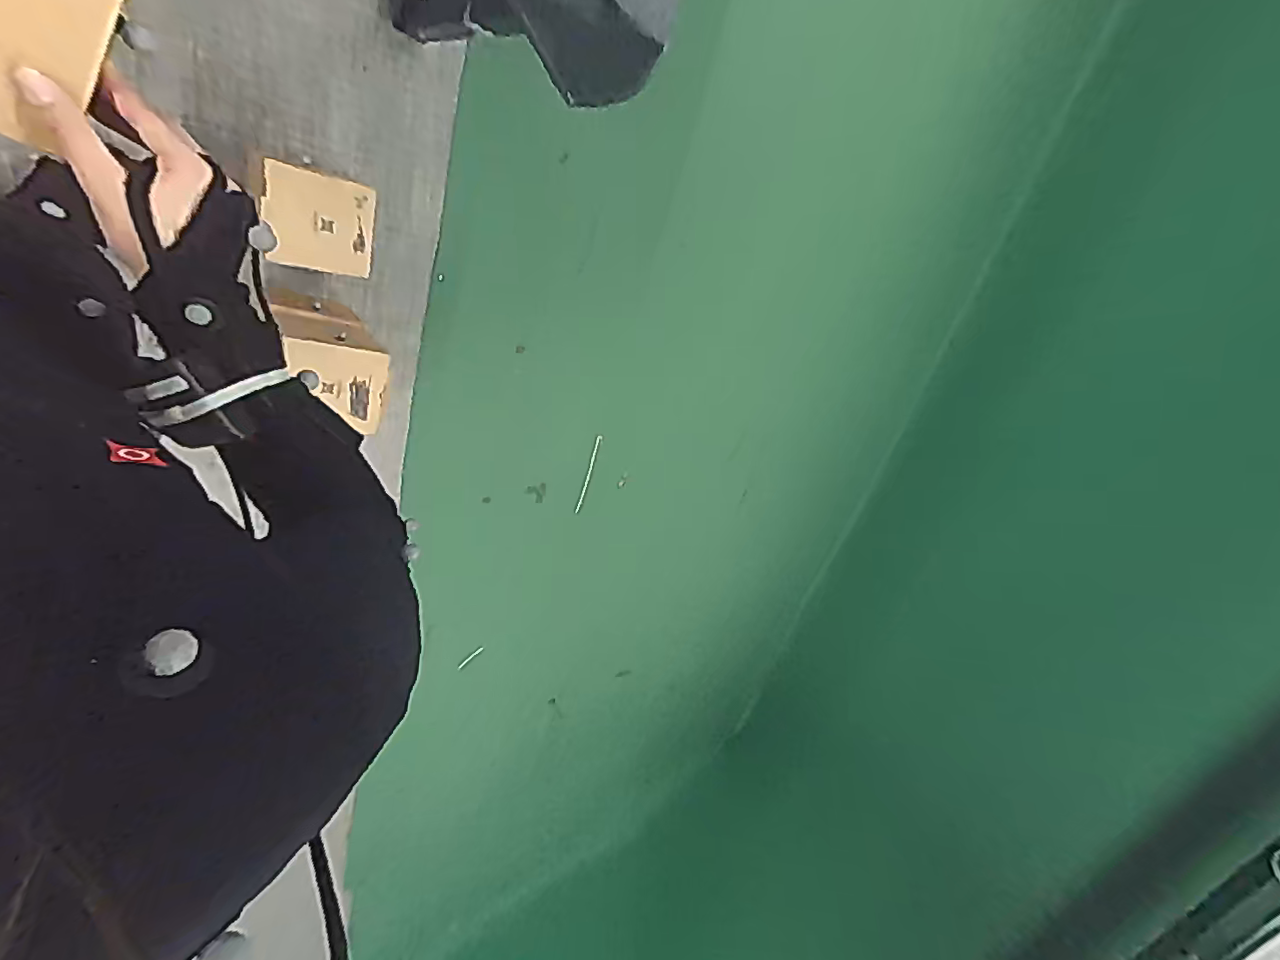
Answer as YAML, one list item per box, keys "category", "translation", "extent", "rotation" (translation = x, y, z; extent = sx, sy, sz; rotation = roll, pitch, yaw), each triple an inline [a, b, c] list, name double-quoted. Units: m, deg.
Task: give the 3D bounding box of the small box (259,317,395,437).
- category: "small box"
  translation: [-0.592, -0.194, 1.018]
  extent: [0.179, 0.176, 0.168]
  rotation: [2, 116, -44]

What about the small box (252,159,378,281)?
- category: "small box"
  translation: [-0.621, -0.493, 1.026]
  extent: [0.179, 0.176, 0.168]
  rotation: [-5, 120, -43]

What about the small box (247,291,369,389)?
- category: "small box"
  translation: [-0.690, -0.277, 1.120]
  extent: [0.179, 0.176, 0.168]
  rotation: [2, 116, -44]
